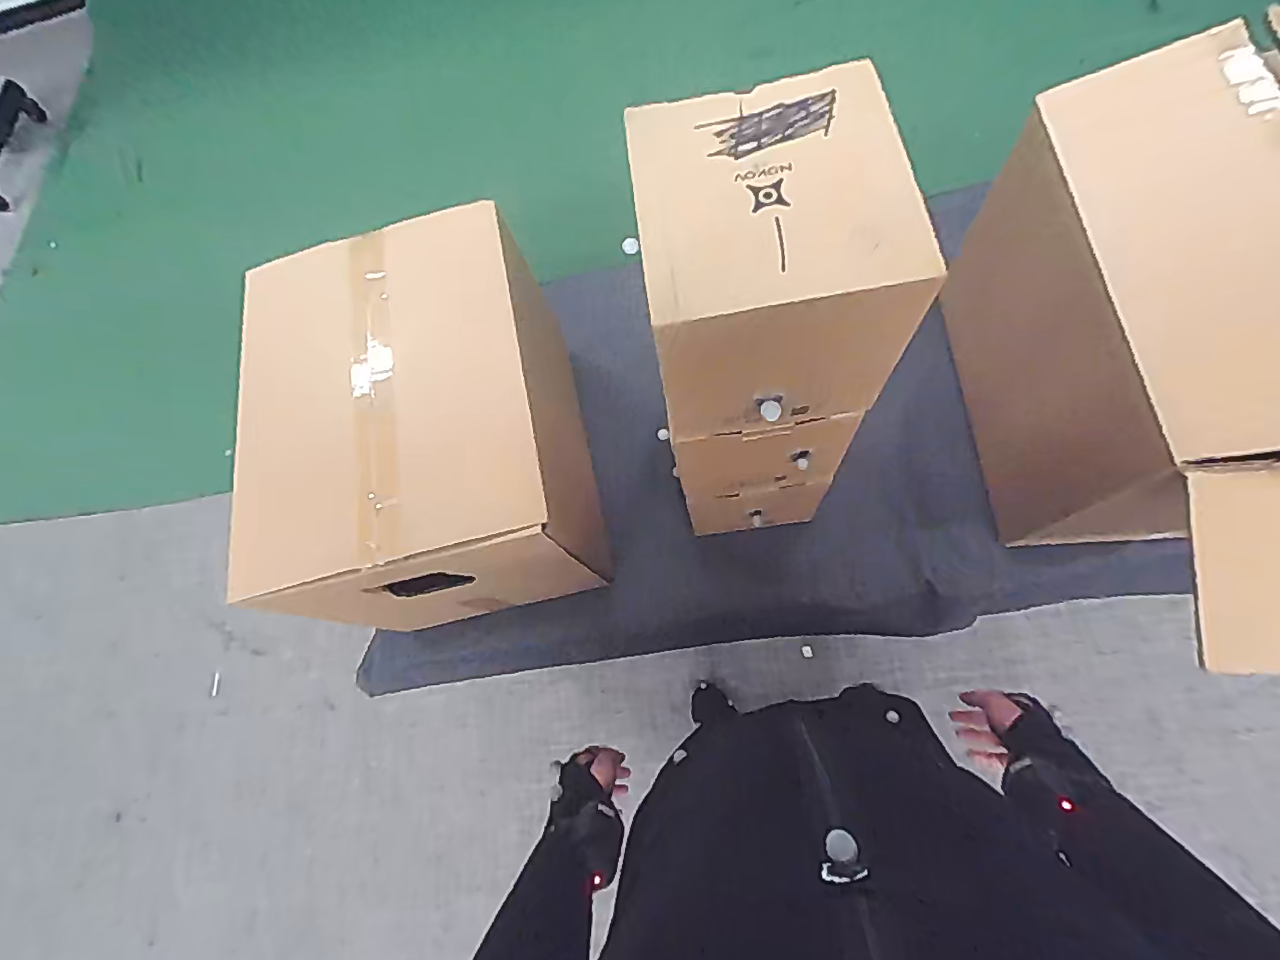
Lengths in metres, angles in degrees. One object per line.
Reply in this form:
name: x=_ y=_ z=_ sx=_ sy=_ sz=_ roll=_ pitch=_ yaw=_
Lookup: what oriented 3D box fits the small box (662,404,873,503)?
small box: x=0.107 y=-0.084 z=0.530 sx=0.168 sy=0.176 sz=0.179 roll=-9 pitch=70 yaw=5
